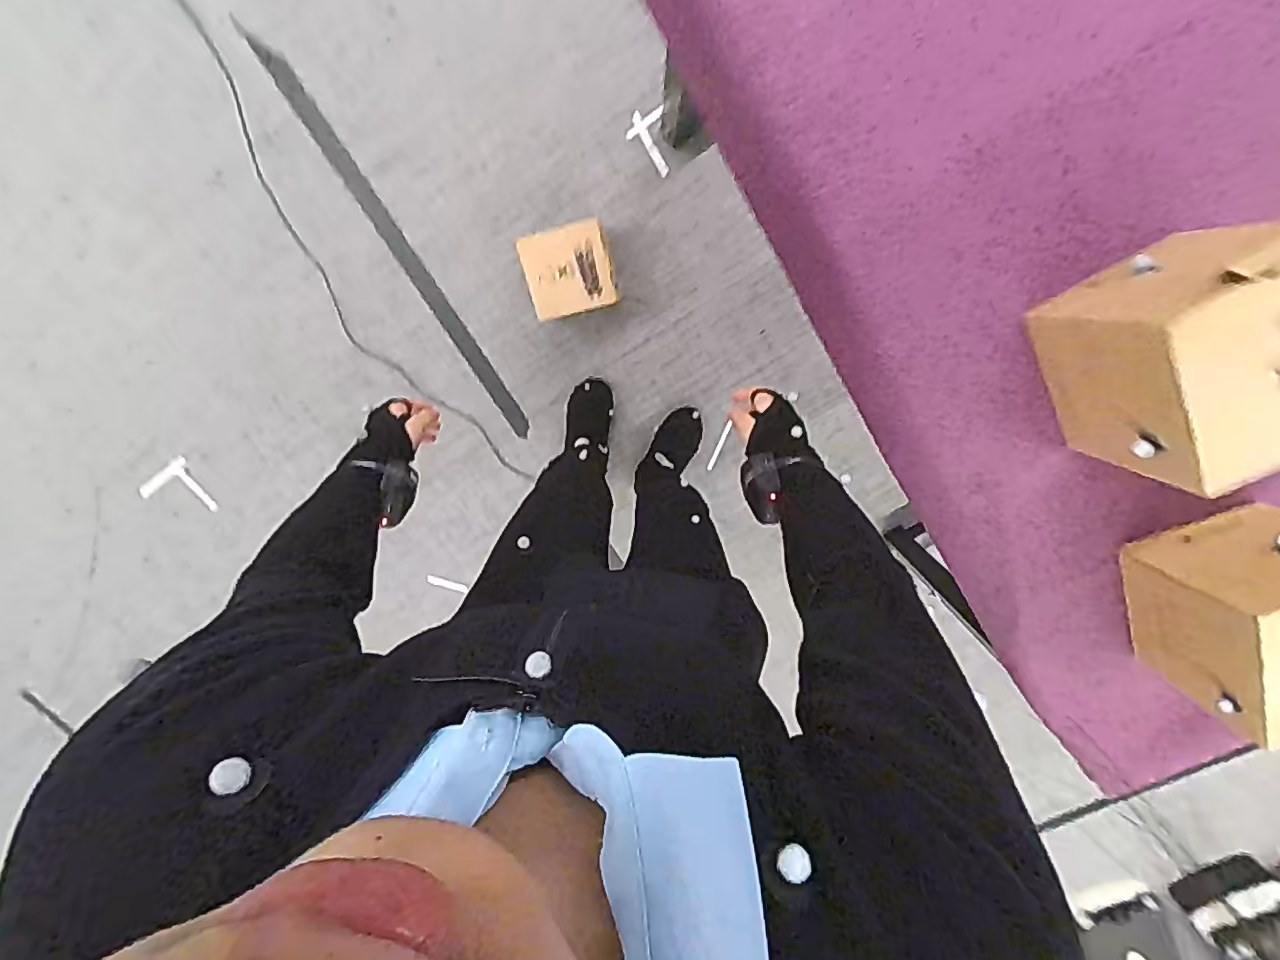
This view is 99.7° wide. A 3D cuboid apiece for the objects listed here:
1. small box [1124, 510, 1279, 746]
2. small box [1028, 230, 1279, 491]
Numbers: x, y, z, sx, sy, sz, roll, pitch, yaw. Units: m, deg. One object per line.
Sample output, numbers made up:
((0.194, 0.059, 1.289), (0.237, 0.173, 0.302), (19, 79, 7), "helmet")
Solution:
((0.696, 0.149, 0.606), (0.168, 0.176, 0.179), (-21, 106, 7), "small box")
((0.527, -0.122, 0.521), (0.168, 0.176, 0.179), (-29, 105, 9), "small box")
